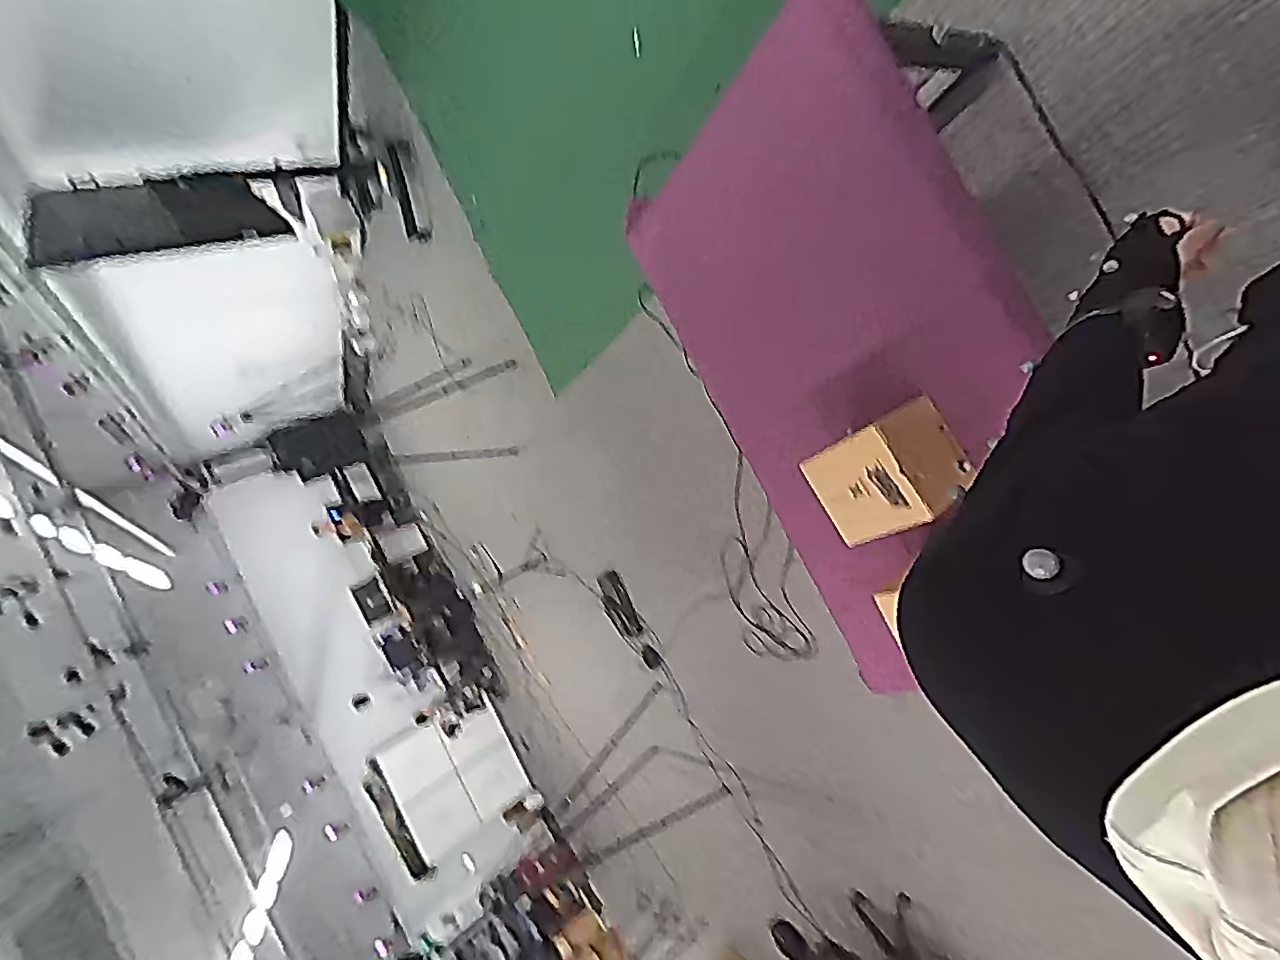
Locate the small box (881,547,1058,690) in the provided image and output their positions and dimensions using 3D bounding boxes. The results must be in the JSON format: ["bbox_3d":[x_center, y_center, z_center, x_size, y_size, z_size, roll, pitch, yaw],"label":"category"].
[{"bbox_3d":[0.551,0.225,0.907,0.168,0.176,0.179,-31,85,57],"label":"small box"}]

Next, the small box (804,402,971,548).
[{"bbox_3d":[0.425,-0.010,0.921,0.168,0.176,0.179,60,148,6],"label":"small box"}]
